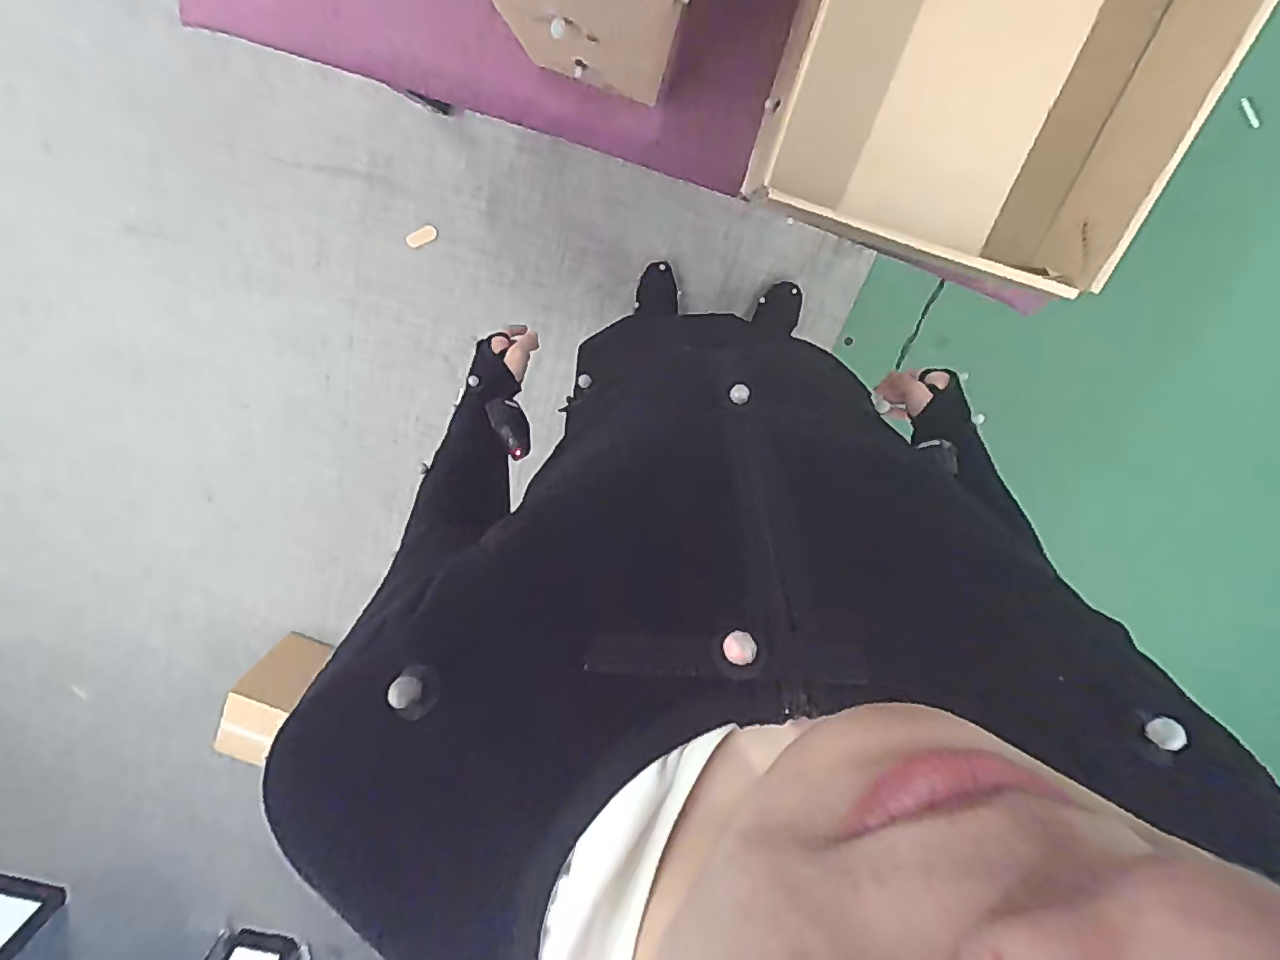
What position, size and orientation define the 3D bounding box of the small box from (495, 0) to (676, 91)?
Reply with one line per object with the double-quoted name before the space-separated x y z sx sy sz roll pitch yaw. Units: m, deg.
"small box" -0.041 -0.562 0.587 0.168 0.176 0.179 17 113 -6
